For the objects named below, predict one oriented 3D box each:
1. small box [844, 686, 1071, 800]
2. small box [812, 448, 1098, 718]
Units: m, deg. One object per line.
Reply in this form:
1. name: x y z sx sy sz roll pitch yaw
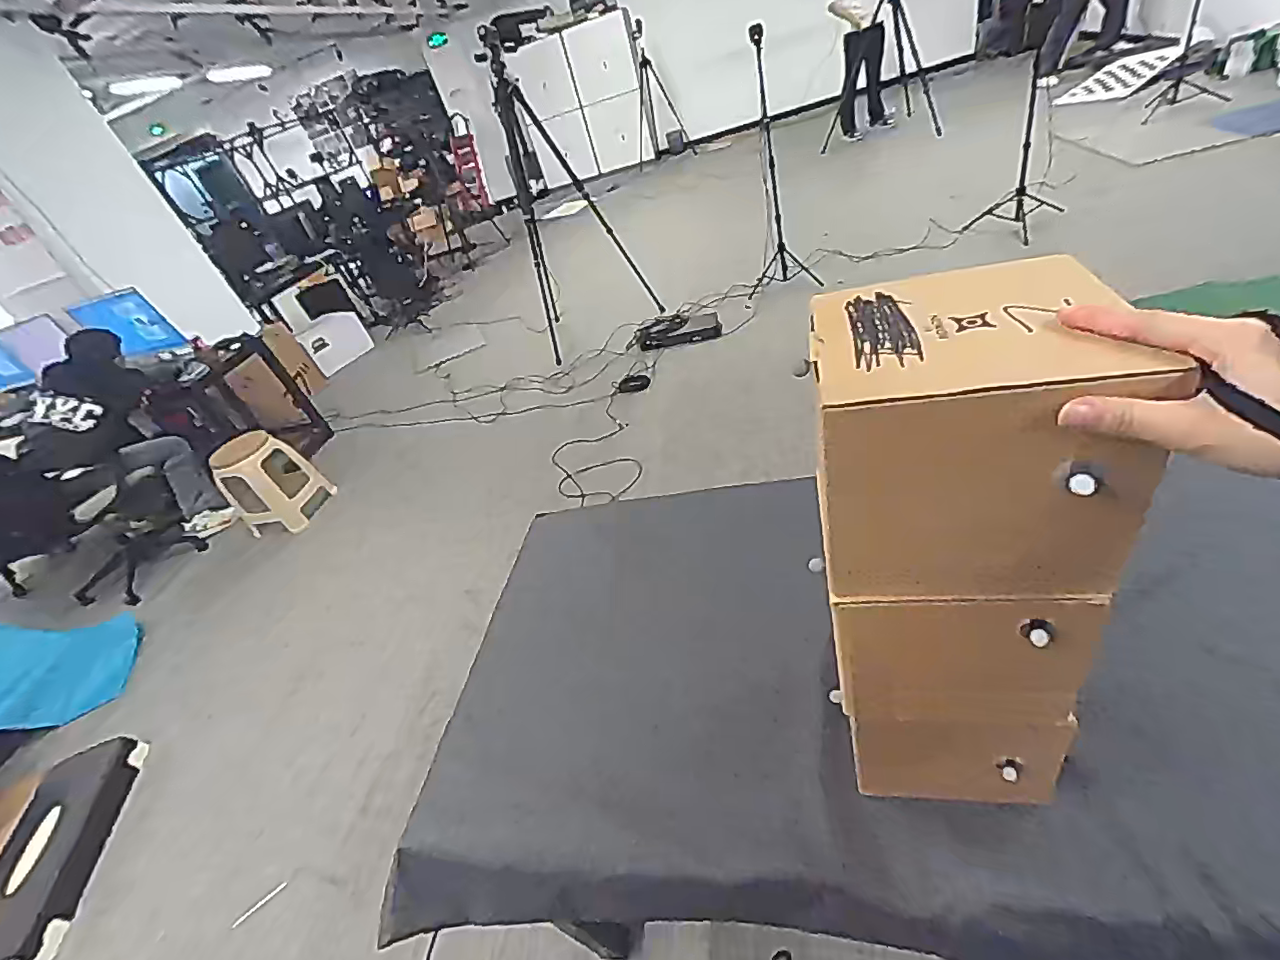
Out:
1. small box: 0.308 0.218 0.575 0.179 0.176 0.168 -8 37 17
2. small box: 0.256 0.093 0.484 0.179 0.176 0.168 -5 38 17
